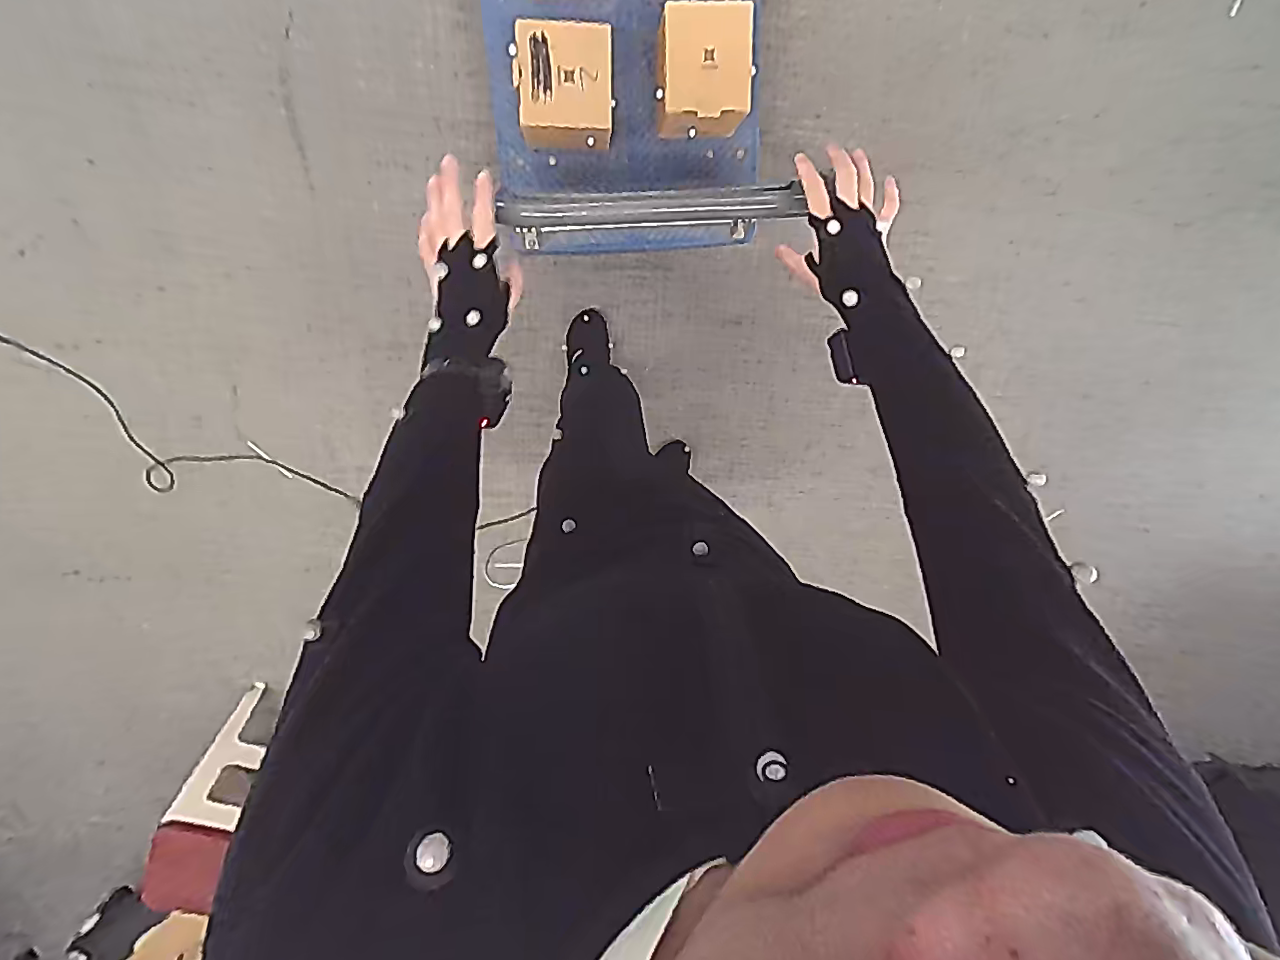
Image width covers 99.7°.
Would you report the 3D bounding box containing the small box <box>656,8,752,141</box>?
[{"bbox_3d":[0.124,-0.819,1.107,0.168,0.176,0.179,-4,109,-3],"label":"small box"}]
